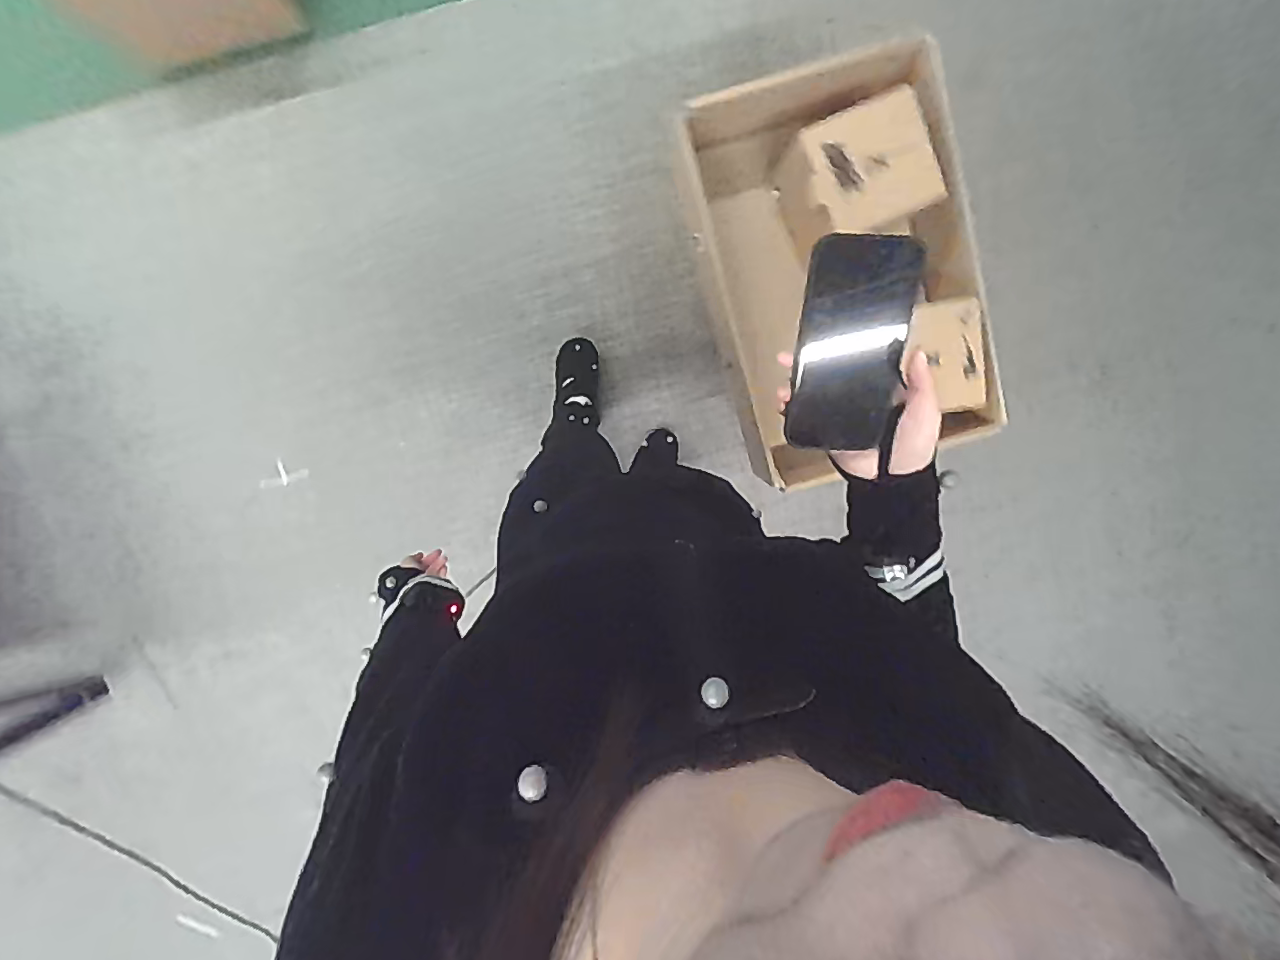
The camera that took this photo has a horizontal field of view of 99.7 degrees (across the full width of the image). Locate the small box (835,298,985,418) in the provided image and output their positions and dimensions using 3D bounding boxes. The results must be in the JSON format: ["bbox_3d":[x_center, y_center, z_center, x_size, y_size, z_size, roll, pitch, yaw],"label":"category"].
[{"bbox_3d":[0.439,-0.195,0.908,0.179,0.176,0.168,-8,98,1],"label":"small box"}]
